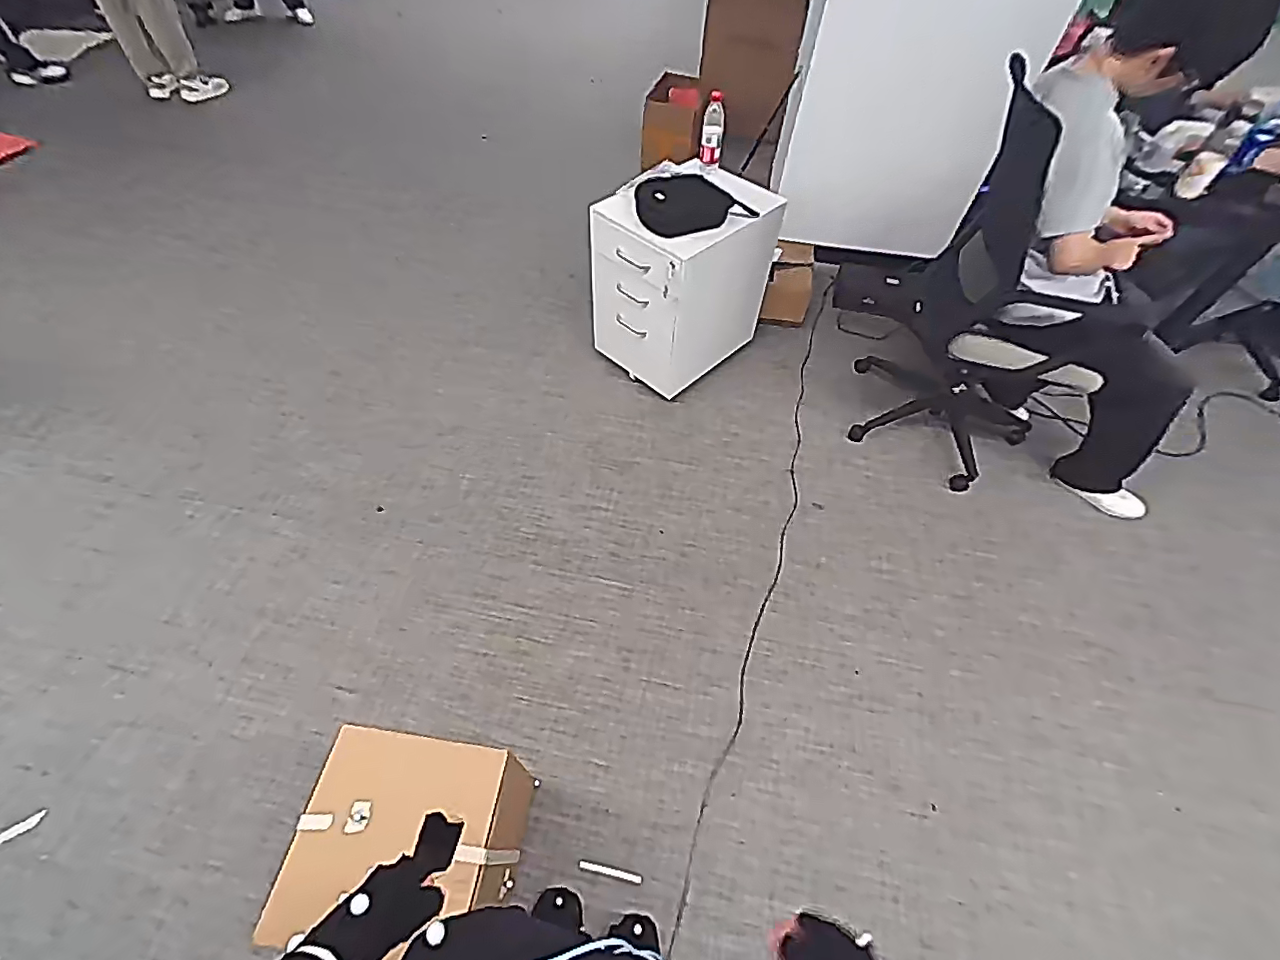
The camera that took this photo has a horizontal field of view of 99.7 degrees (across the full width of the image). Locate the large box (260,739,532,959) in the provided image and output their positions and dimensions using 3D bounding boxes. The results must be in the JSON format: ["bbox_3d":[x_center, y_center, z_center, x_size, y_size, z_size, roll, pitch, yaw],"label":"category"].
[{"bbox_3d":[-0.415,0.711,1.042,0.320,0.408,0.320,9,56,2],"label":"large box"}]
